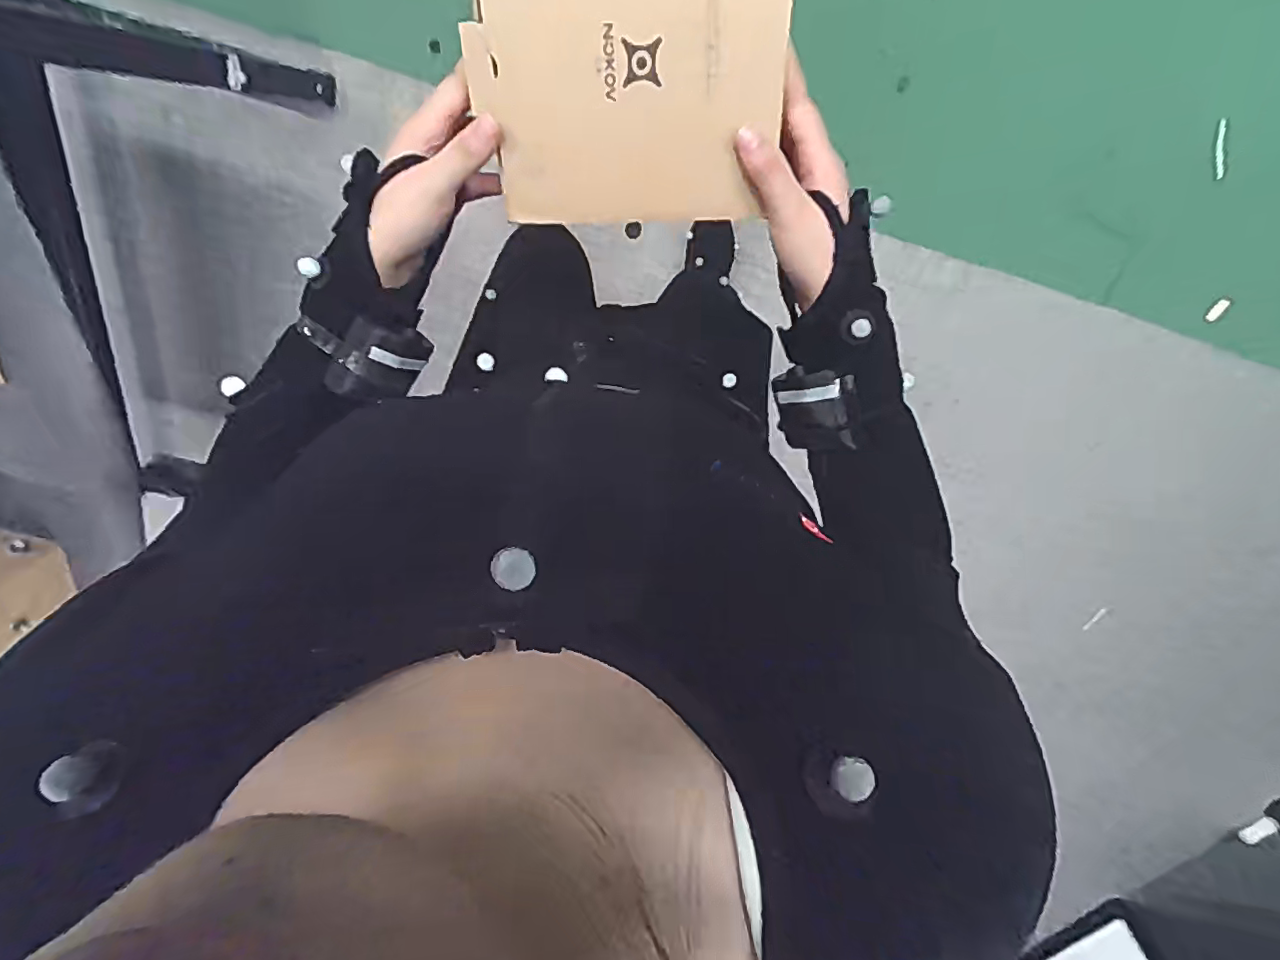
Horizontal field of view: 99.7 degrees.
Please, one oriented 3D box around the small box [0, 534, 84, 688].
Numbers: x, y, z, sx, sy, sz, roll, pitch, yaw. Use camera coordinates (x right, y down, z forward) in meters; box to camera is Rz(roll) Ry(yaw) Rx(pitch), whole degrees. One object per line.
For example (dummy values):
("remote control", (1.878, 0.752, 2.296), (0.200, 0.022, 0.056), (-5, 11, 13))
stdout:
("small box", (-1.016, 0.191, 0.817), (0.168, 0.176, 0.179), (16, 122, -6))
